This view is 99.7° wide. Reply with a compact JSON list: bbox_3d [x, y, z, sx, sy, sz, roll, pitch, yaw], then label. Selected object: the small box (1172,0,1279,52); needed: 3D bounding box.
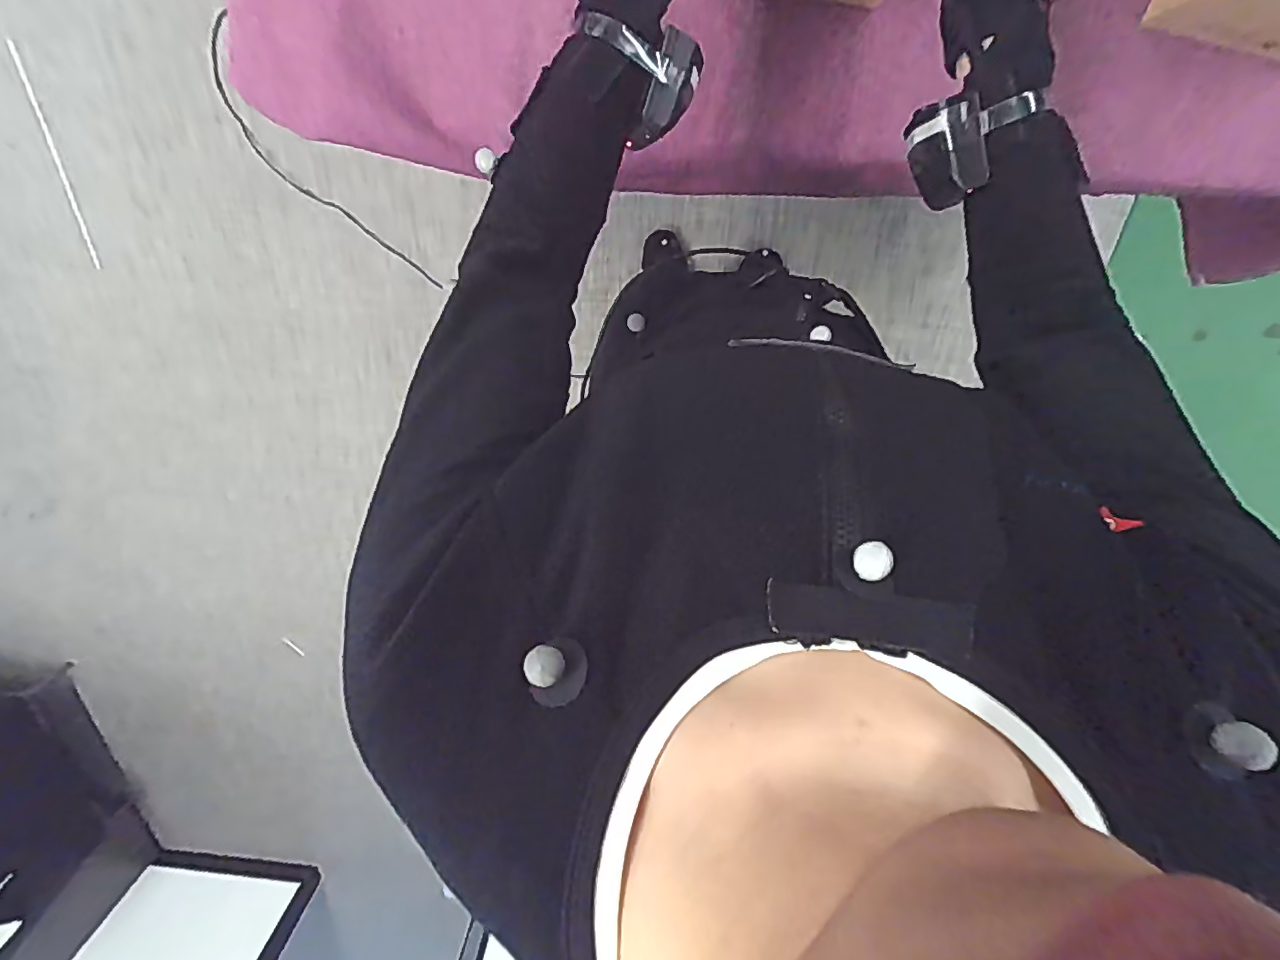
[{"bbox_3d":[0.559,-0.447,0.394,0.168,0.176,0.179,14,116,-2],"label":"small box"}]
